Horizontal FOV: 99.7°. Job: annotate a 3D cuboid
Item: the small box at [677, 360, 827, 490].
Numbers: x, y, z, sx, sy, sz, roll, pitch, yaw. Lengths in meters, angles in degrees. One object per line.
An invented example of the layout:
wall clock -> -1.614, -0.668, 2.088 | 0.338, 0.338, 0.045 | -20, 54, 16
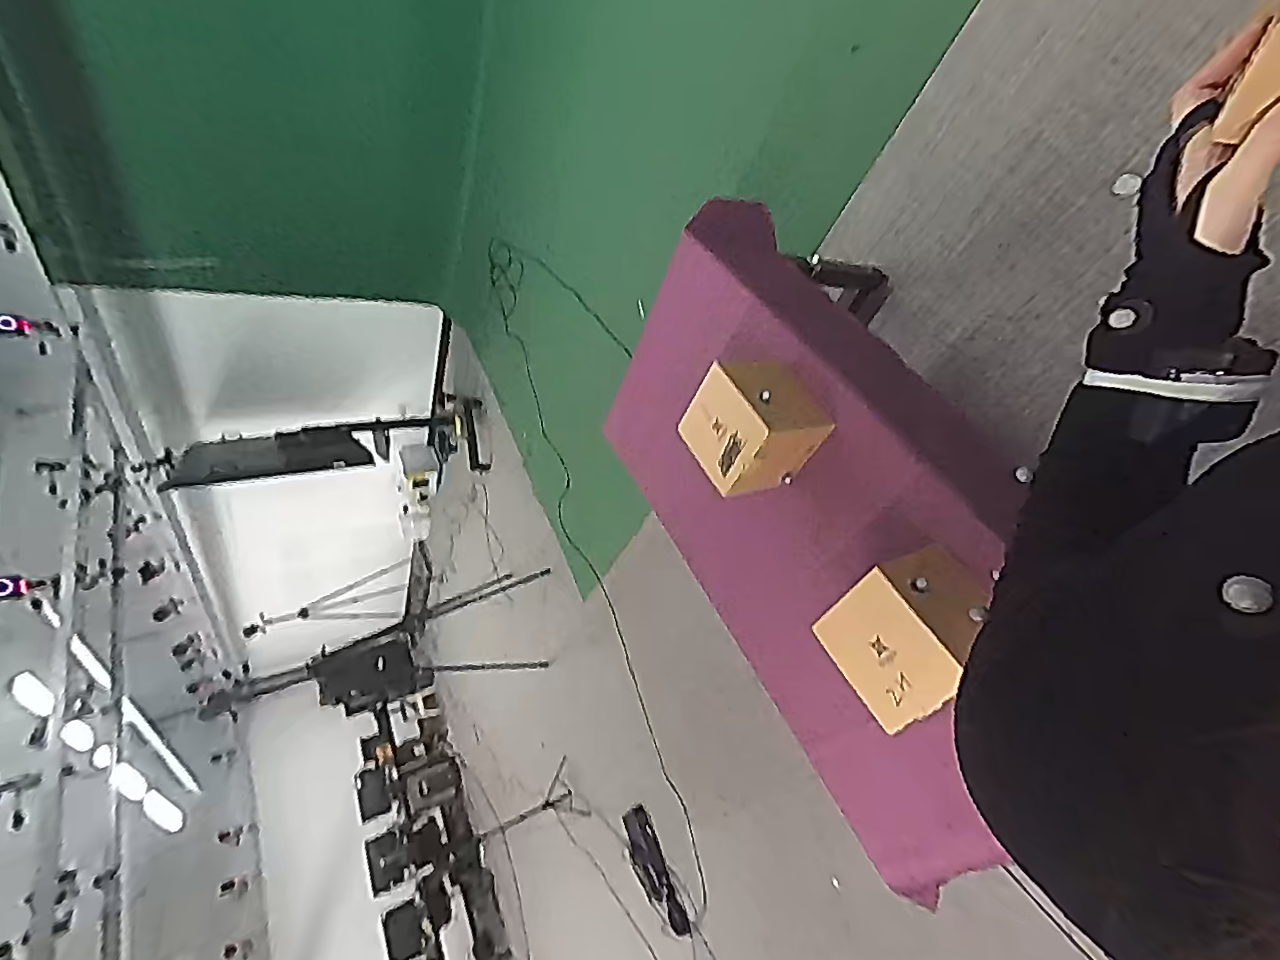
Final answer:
small box -> 0.203, -0.107, 0.991 | 0.179, 0.176, 0.168 | 60, 141, 29

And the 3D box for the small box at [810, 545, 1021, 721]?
small box -> 0.395, 0.211, 0.788 | 0.179, 0.176, 0.168 | 57, 140, 30
